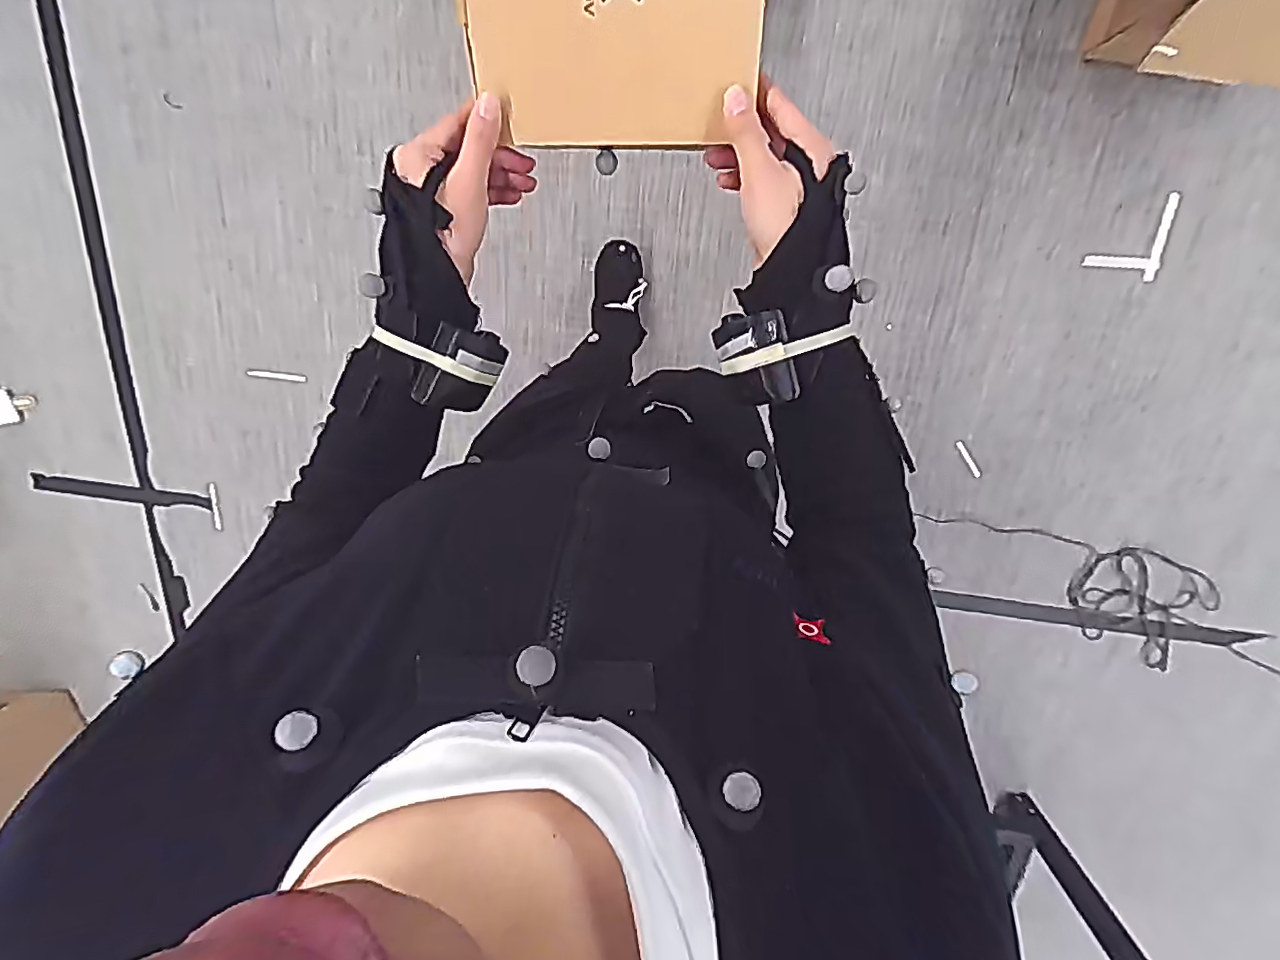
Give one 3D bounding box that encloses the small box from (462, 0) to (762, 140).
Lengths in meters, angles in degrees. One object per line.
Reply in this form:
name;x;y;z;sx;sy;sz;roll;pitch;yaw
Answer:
small box;-0.016;-0.332;0.369;0.179;0.176;0.168;0;121;0
